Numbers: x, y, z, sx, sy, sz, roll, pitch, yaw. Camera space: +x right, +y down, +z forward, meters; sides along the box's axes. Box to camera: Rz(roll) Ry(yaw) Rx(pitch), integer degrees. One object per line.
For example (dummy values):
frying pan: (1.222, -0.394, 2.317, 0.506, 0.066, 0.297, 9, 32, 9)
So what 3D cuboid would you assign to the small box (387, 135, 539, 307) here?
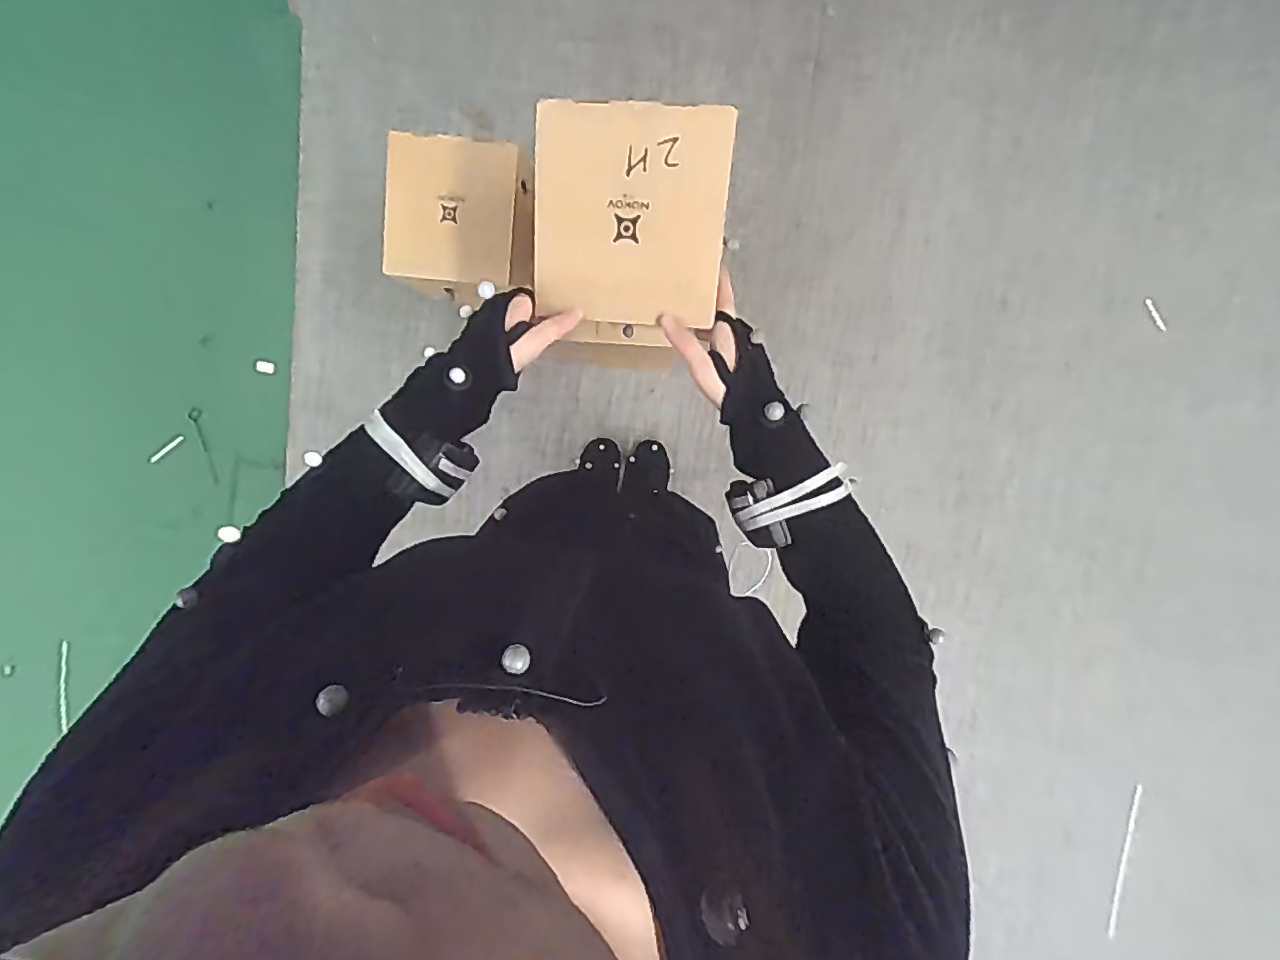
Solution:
small box: (-0.238, -0.353, 0.772, 0.168, 0.176, 0.179, 6, 98, 0)

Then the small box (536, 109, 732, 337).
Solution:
small box: (-0.001, -0.246, 0.553, 0.168, 0.176, 0.179, 6, 107, 5)
